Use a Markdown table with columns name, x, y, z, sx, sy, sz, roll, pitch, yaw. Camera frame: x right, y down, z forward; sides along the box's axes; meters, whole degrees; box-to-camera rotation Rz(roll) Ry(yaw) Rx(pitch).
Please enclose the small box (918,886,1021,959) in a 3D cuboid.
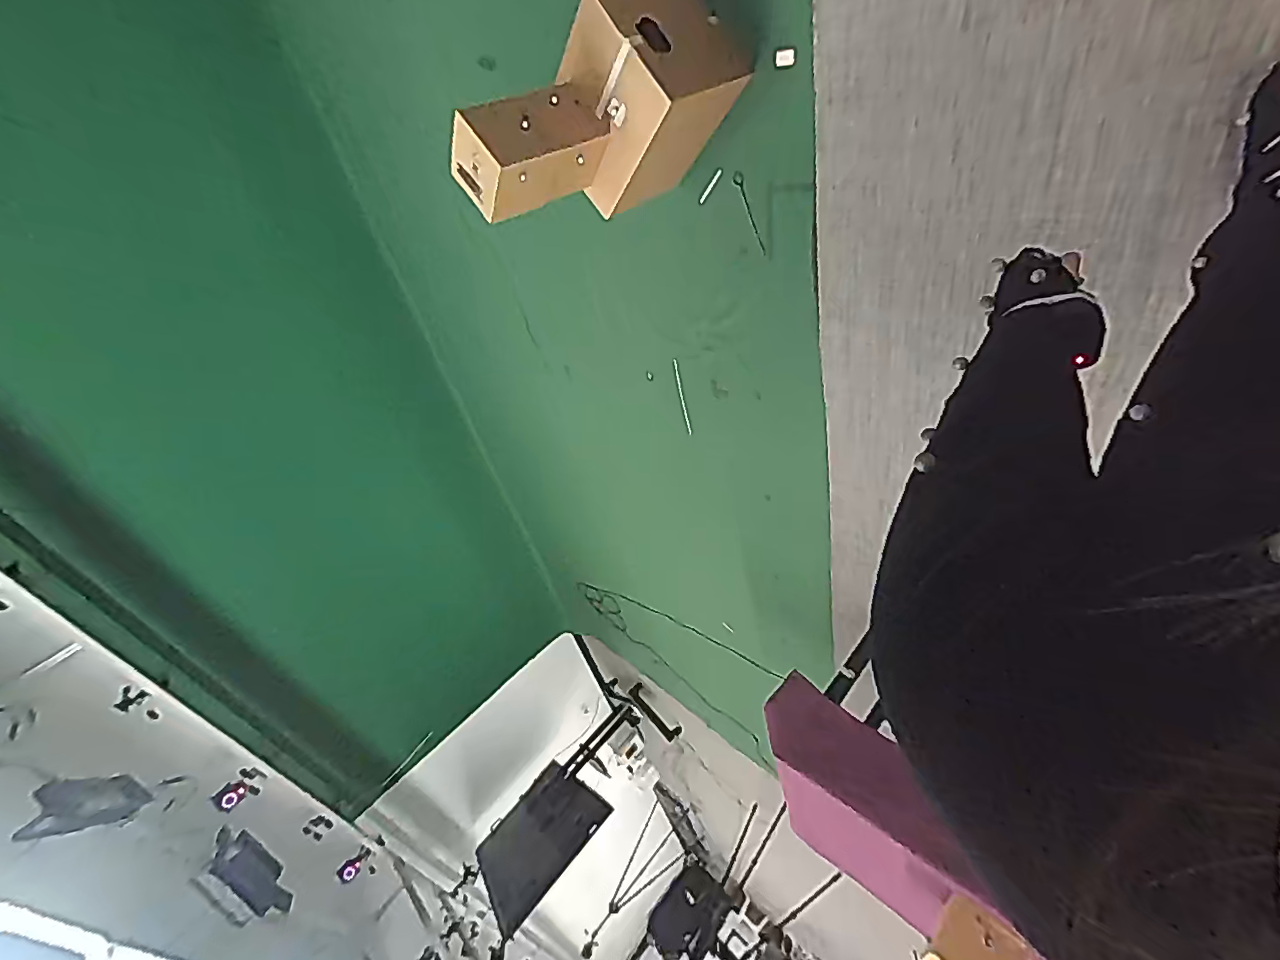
| name | x | y | z | sx | sy | sz | roll | pitch | yaw |
| --- | --- | --- | --- | --- | --- | --- | --- | --- | --- |
| small box | 0.859 | 1.215 | 1.411 | 0.168 | 0.176 | 0.179 | 27 | 144 | 37 |
